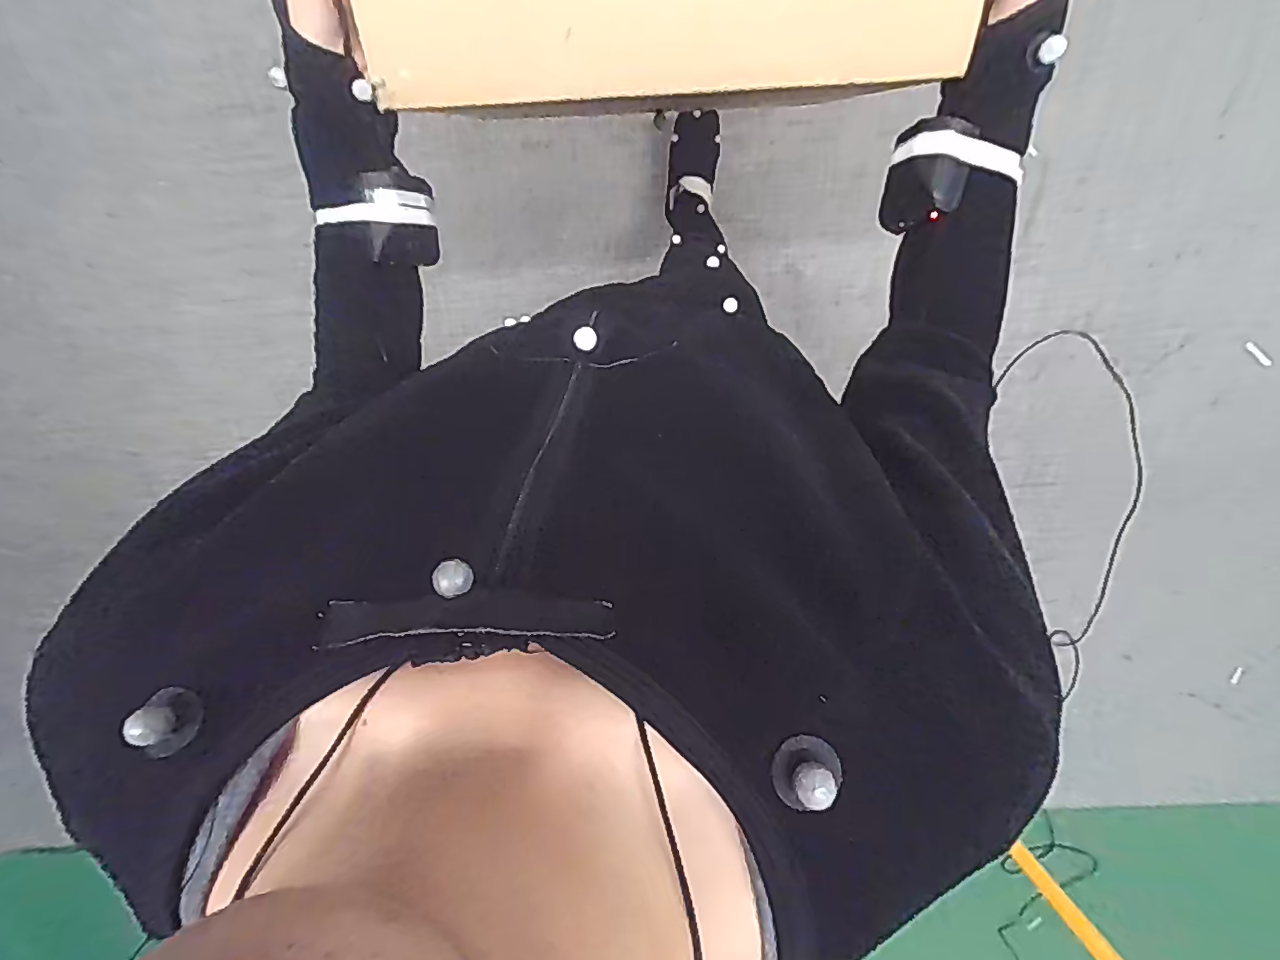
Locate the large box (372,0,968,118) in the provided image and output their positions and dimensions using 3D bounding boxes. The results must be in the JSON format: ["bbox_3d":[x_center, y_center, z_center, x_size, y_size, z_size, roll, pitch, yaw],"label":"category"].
[{"bbox_3d":[0.014,-0.485,0.427,0.408,0.320,0.320,-3,122,1],"label":"large box"}]
